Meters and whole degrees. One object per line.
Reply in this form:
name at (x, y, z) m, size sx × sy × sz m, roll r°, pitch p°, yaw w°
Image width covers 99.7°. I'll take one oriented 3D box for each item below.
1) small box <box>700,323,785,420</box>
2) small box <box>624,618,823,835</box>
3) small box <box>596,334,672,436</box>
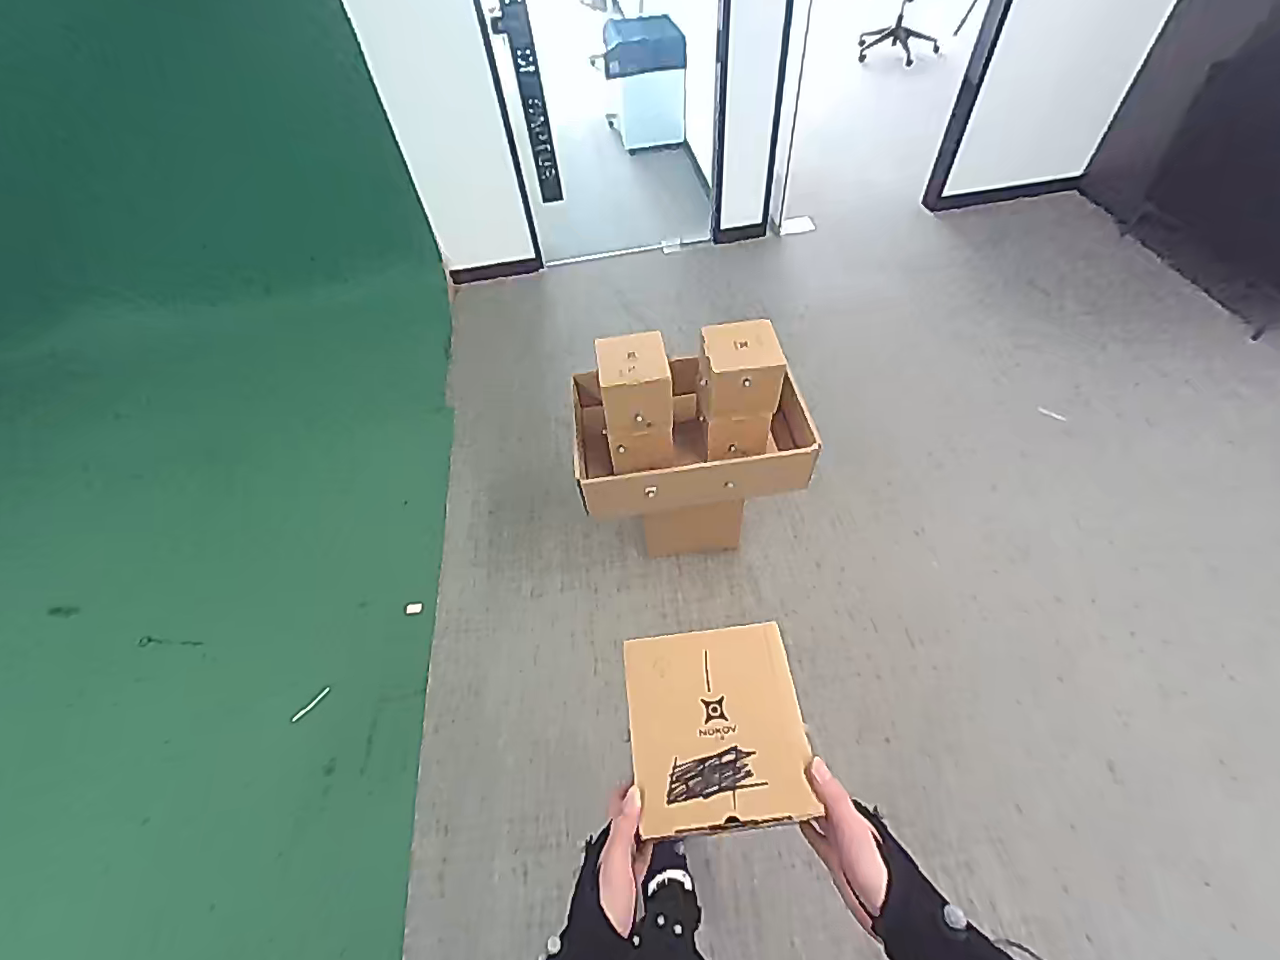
small box at (0.245, -0.264, 1.343) m, size 0.179 × 0.176 × 0.168 m, roll -6°, pitch 54°, yaw -2°
small box at (0.077, 0.268, 0.576) m, size 0.168 × 0.176 × 0.179 m, roll -7°, pitch 54°, yaw -1°
small box at (-0.015, -0.233, 1.333) m, size 0.168 × 0.176 × 0.179 m, roll -8°, pitch 52°, yaw -1°
